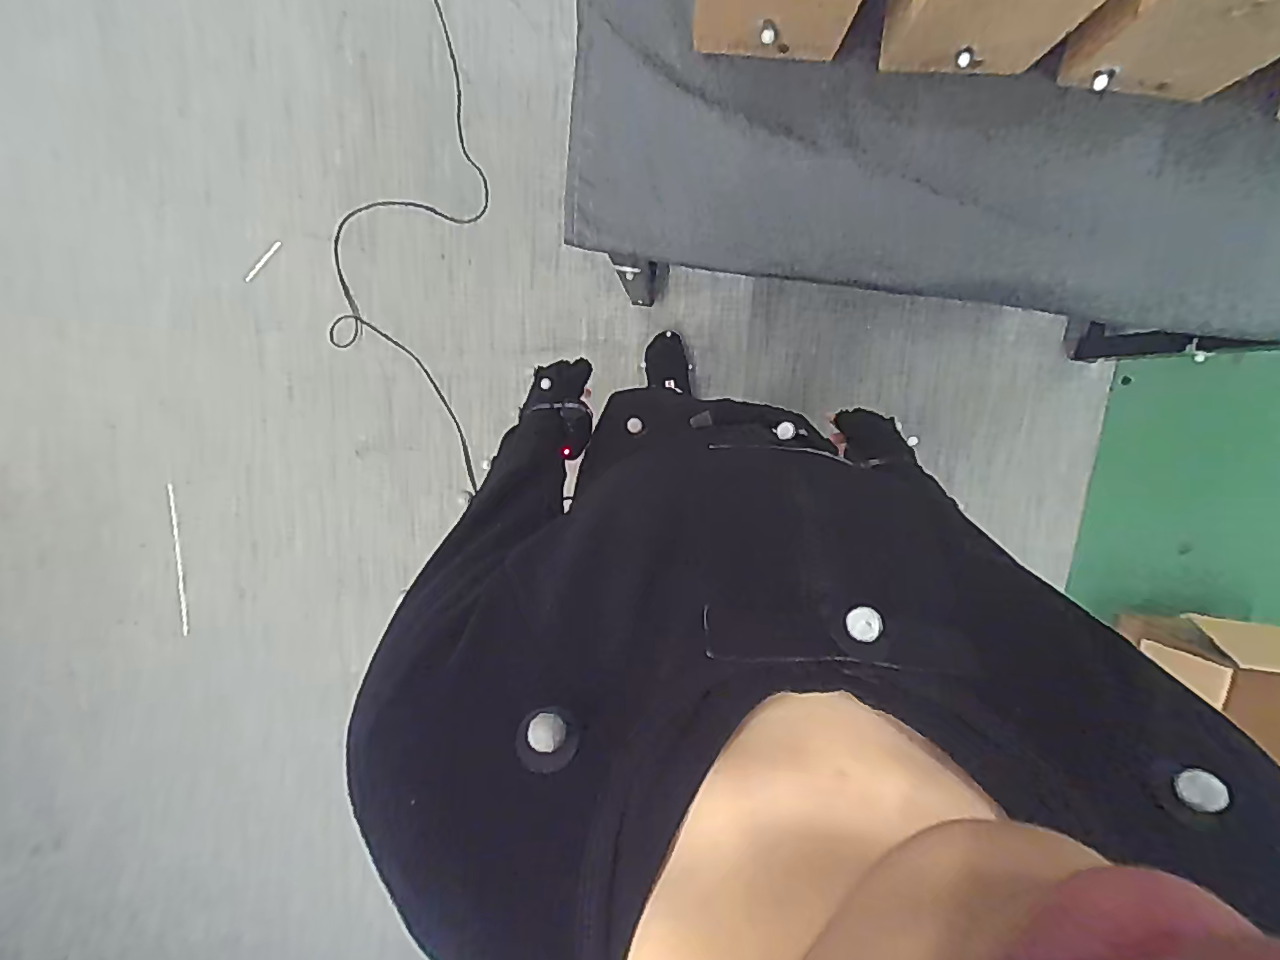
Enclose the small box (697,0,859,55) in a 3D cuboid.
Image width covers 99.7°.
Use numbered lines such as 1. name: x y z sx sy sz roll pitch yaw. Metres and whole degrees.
1. small box: 0.149 -0.574 0.535 0.168 0.176 0.179 6 100 2
